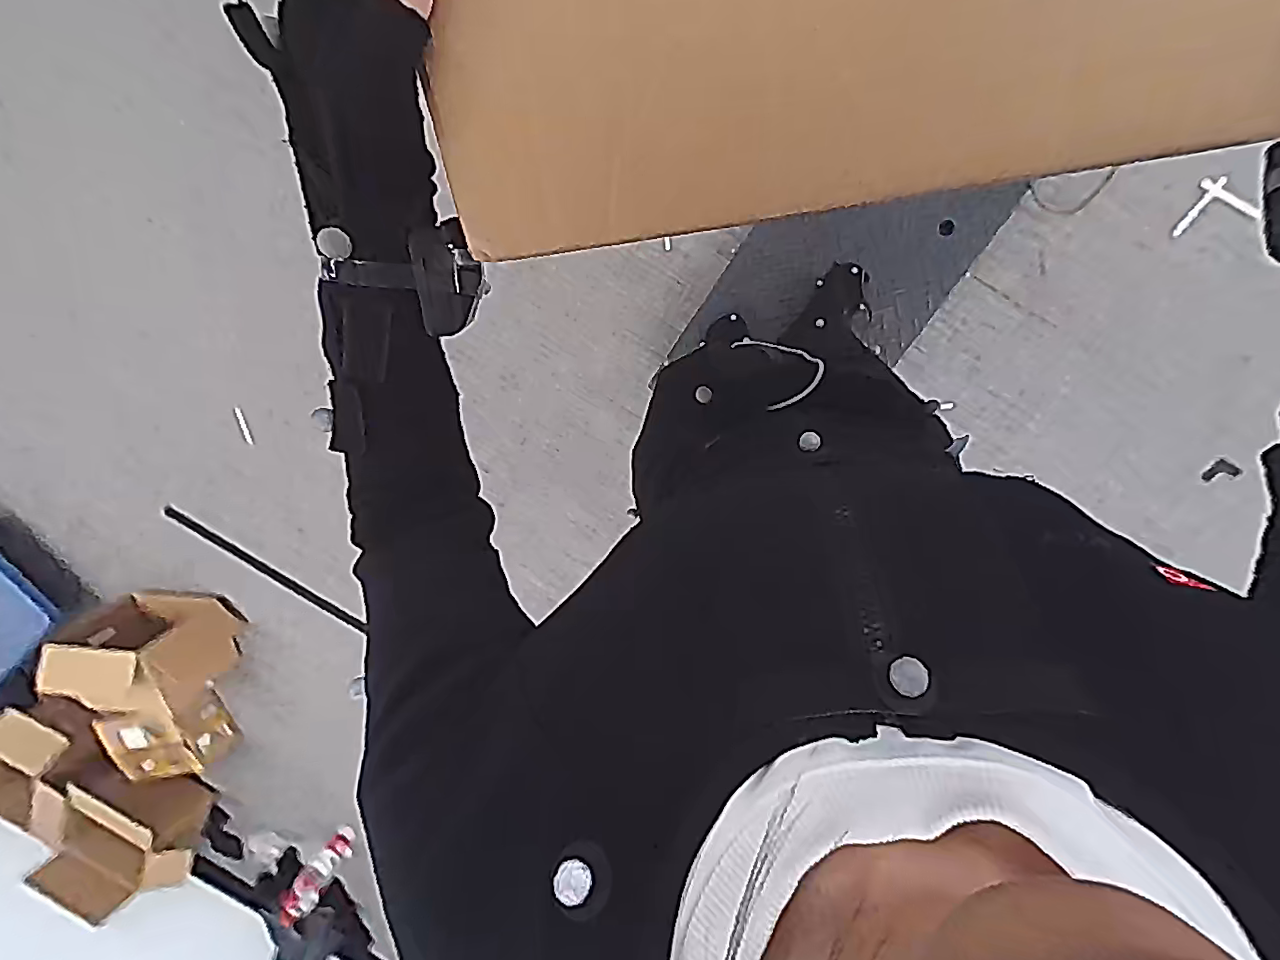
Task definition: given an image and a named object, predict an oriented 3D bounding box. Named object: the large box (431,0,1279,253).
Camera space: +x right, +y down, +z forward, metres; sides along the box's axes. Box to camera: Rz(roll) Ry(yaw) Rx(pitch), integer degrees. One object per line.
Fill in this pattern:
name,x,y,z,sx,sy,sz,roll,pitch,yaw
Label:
large box,0.101,-0.350,0.345,0.408,0.320,0.320,-5,117,9
